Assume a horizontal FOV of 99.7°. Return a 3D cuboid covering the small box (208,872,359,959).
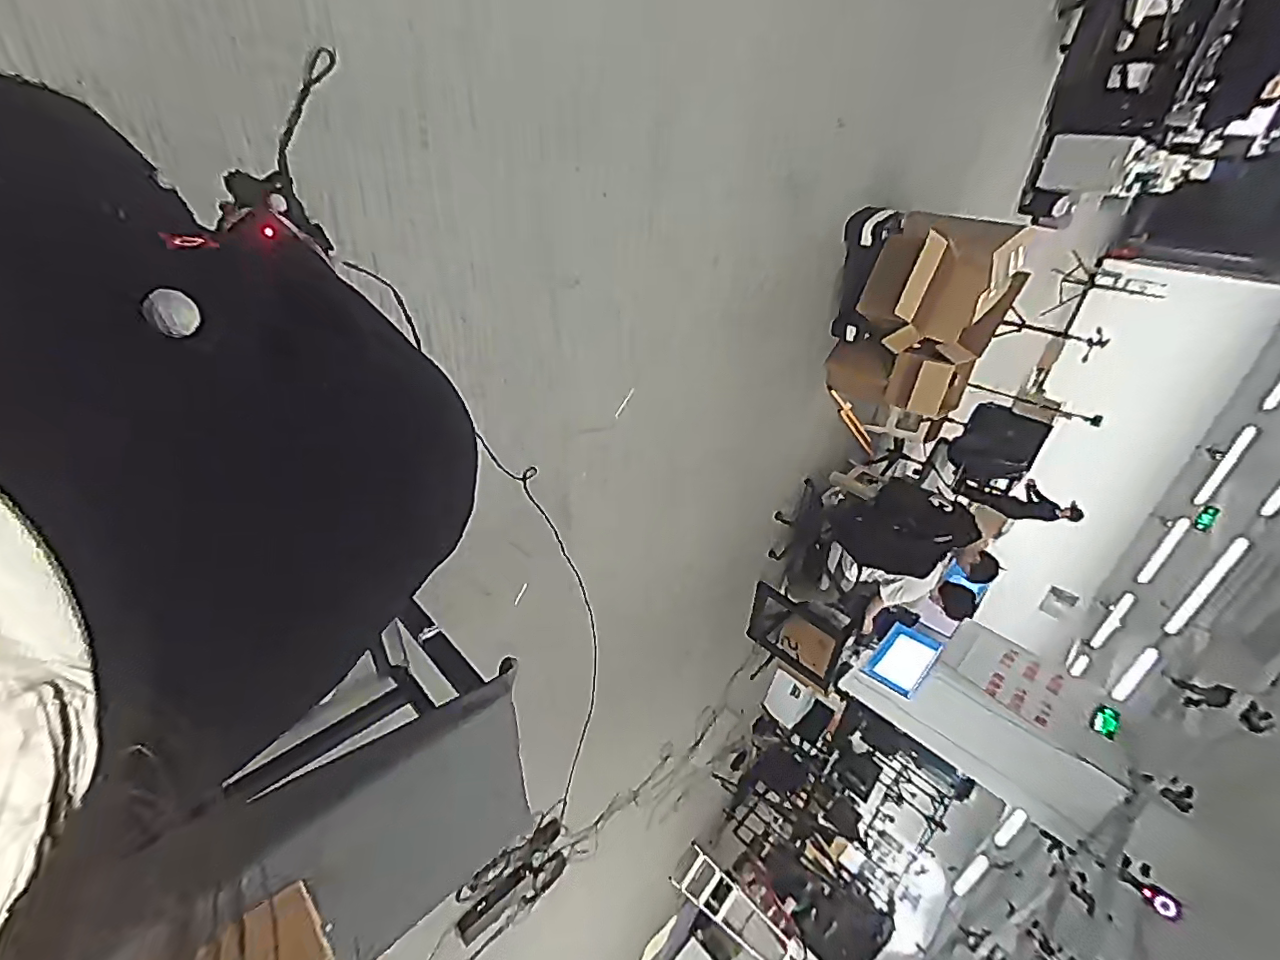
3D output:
[{"bbox_3d":[-0.614,0.847,0.948,0.179,0.176,0.168,-23,130,-37],"label":"small box"}]
